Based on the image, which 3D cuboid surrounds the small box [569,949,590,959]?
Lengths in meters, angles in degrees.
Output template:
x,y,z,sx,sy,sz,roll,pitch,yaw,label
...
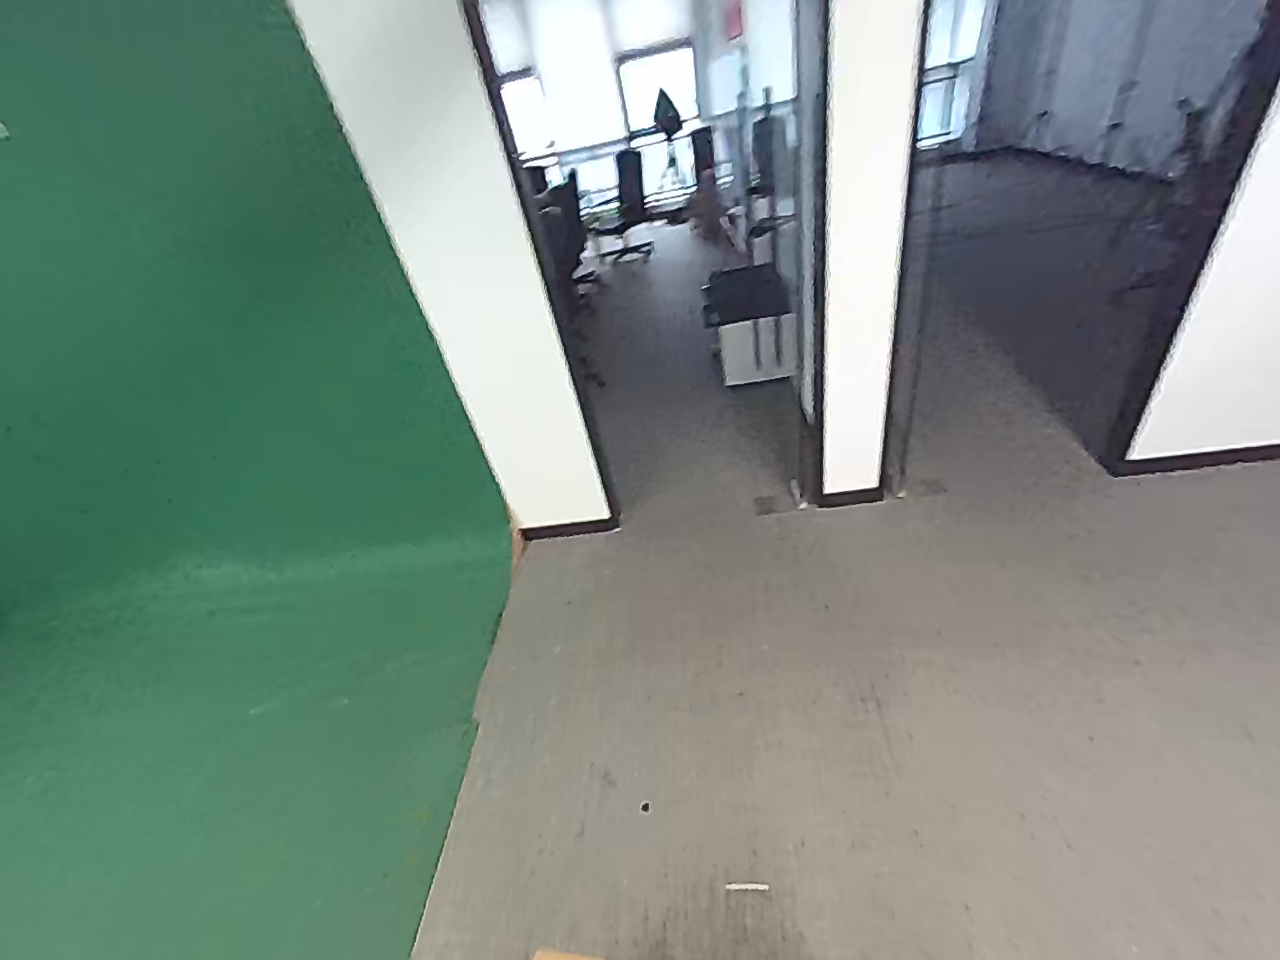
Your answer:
x,y,z,sx,sy,sz,roll,pitch,yaw,label
-0.098,1.066,1.032,0.179,0.176,0.168,20,49,38,small box
